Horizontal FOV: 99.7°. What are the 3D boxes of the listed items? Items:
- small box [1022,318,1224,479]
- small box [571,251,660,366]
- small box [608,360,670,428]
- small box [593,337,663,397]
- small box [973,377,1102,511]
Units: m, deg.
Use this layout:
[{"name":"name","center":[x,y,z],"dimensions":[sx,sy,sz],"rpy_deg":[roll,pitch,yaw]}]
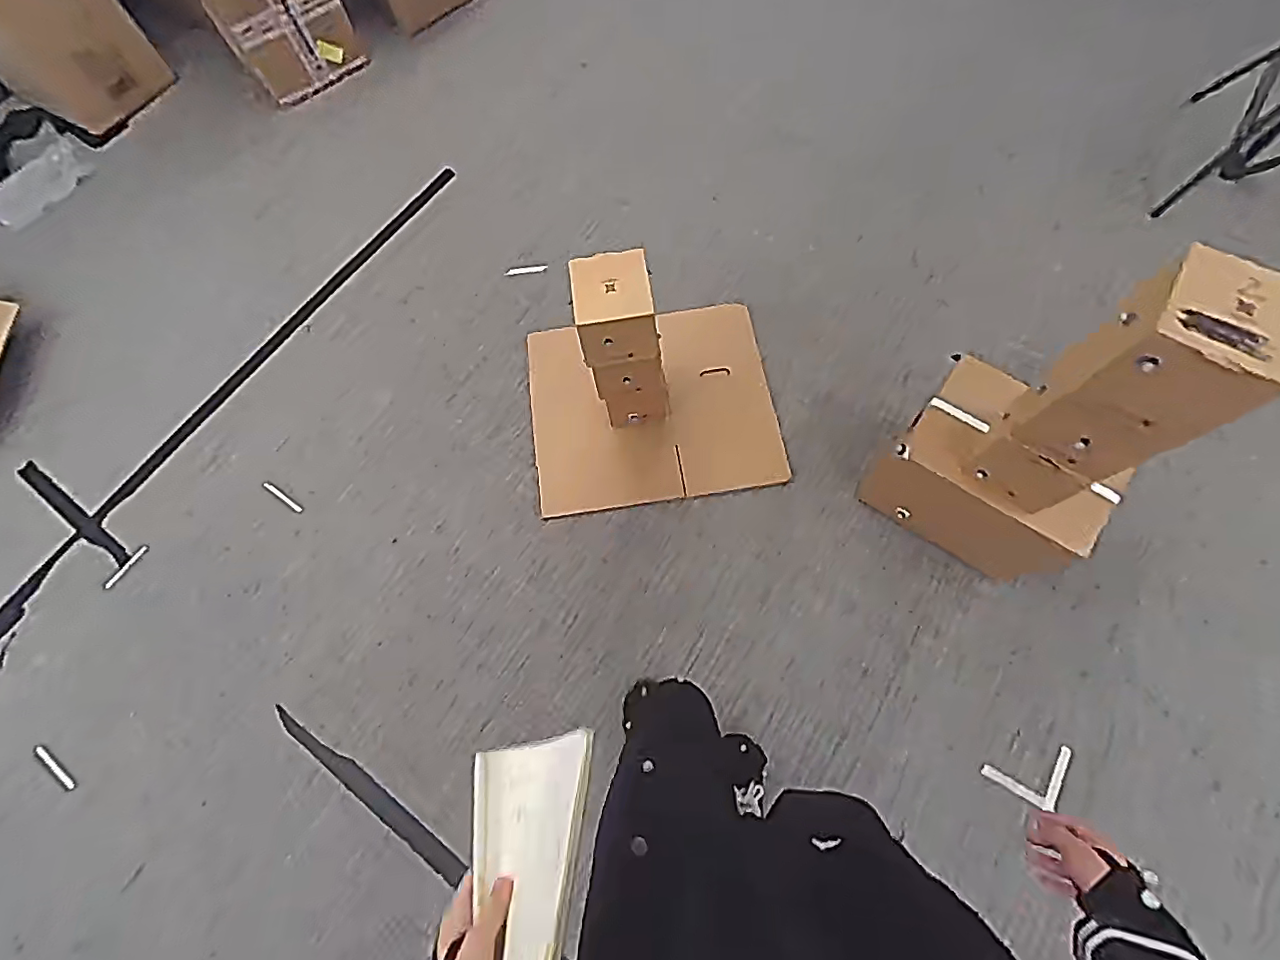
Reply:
[{"name":"small box","center":[0.794,-0.128,0.912],"dimensions":[0.168,0.176,0.179],"rpy_deg":[34,77,14]},{"name":"small box","center":[-0.050,-0.369,1.201],"dimensions":[0.168,0.176,0.179],"rpy_deg":[-9,69,1]},{"name":"small box","center":[-0.014,-0.270,1.512],"dimensions":[0.168,0.176,0.179],"rpy_deg":[-12,71,-1]},{"name":"small box","center":[-0.036,-0.322,1.356],"dimensions":[0.168,0.176,0.179],"rpy_deg":[-11,69,-1]},{"name":"small box","center":[0.798,-0.064,1.063],"dimensions":[0.168,0.176,0.179],"rpy_deg":[37,76,15]}]
